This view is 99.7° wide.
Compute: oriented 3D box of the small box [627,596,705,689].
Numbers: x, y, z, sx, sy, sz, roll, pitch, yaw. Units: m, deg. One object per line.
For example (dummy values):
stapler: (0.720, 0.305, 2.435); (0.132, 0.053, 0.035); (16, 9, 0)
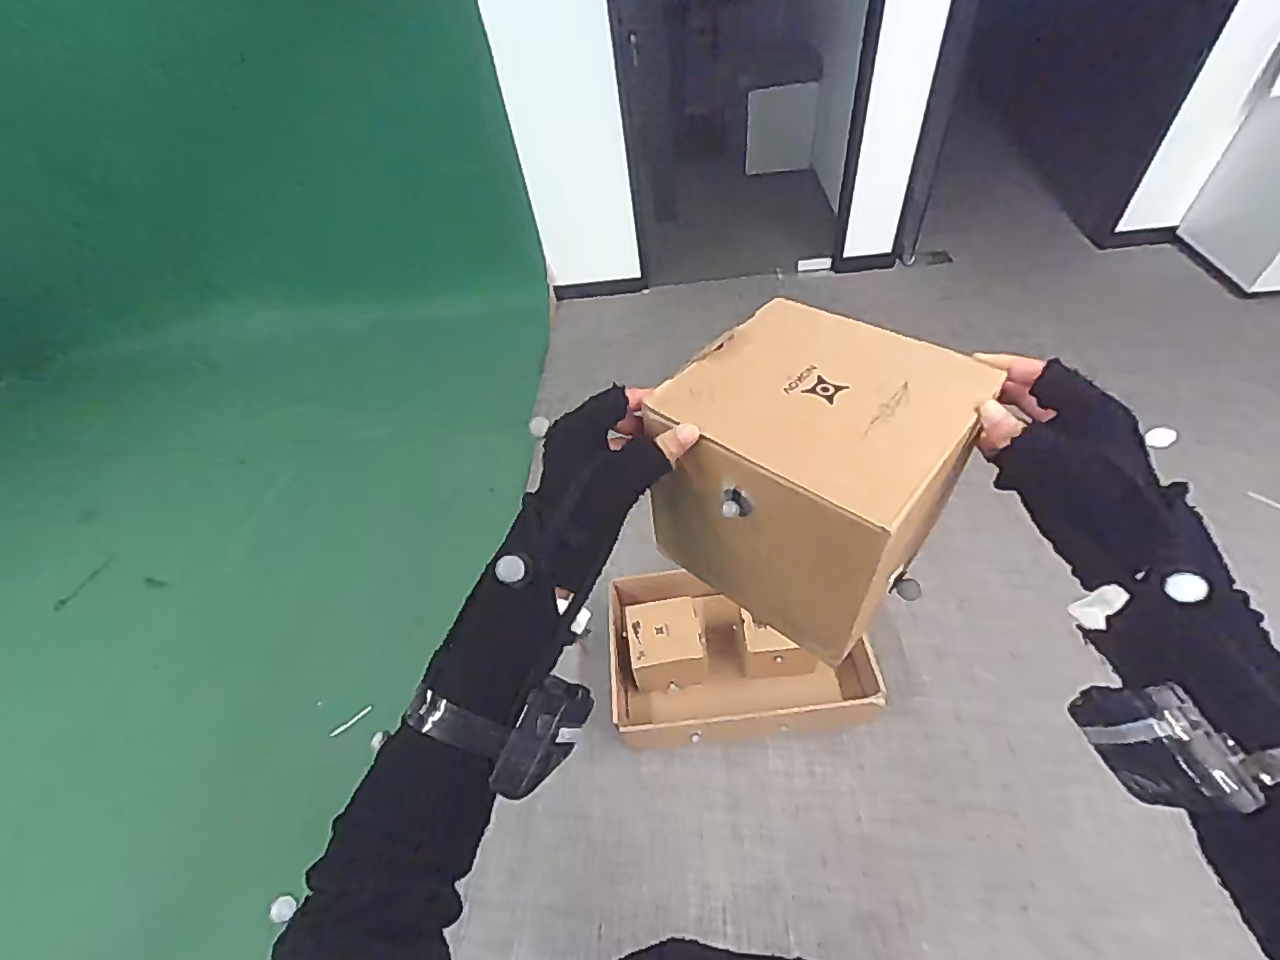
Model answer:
small box: (0.066, 0.421, 1.393); (0.179, 0.176, 0.168); (-9, 48, -1)

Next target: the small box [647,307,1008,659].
small box: (0.125, 0.000, 0.411); (0.179, 0.176, 0.168); (32, 58, 31)

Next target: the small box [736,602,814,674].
small box: (0.344, 0.383, 1.382); (0.179, 0.176, 0.168); (-7, 49, 4)
